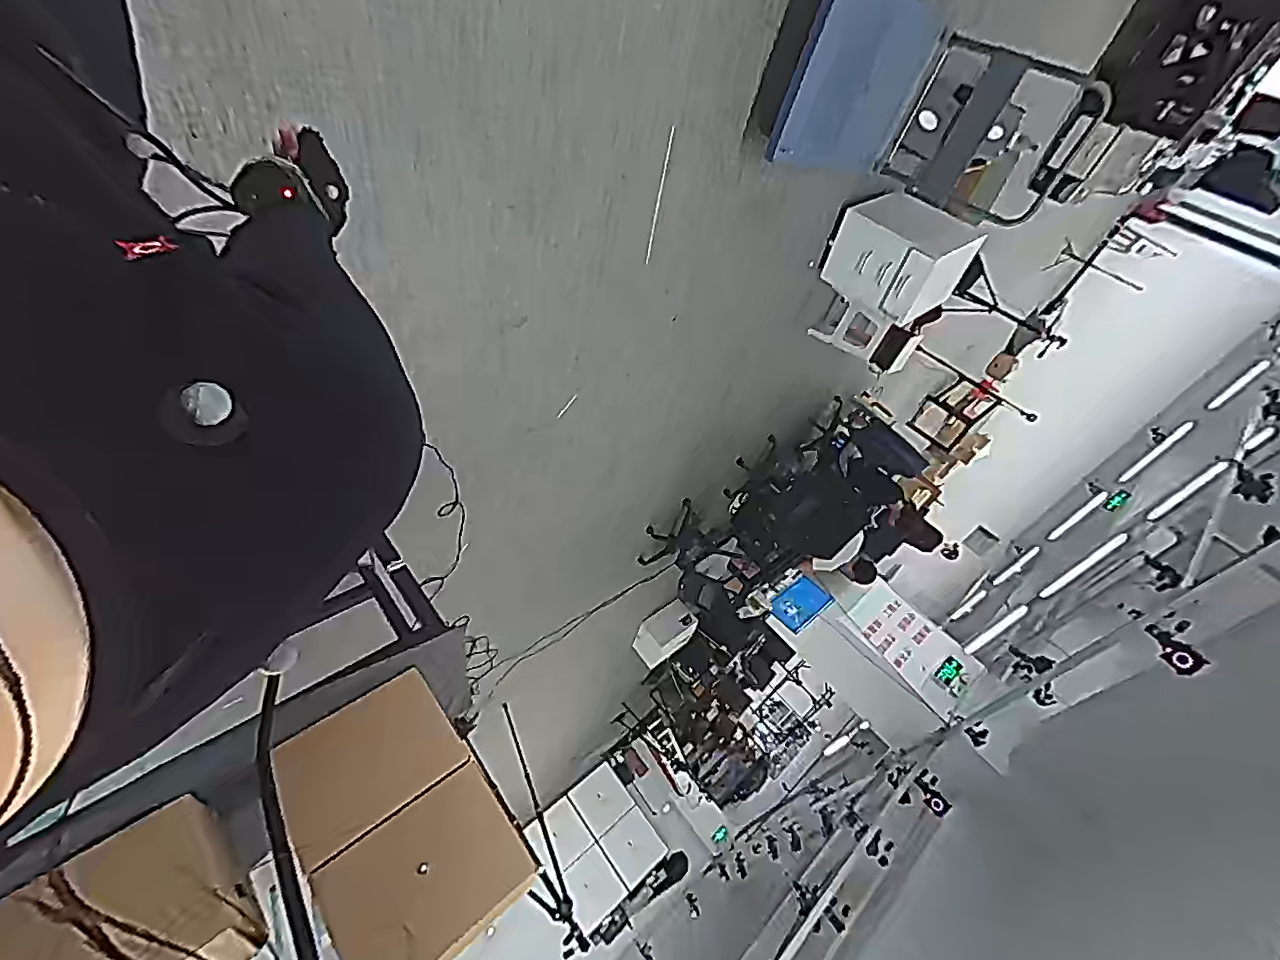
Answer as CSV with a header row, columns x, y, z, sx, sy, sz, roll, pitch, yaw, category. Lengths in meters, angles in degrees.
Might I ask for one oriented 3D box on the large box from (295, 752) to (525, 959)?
x,y,z,sx,sy,sz,roll,pitch,yaw,category
-0.543,0.970,1.329,0.408,0.320,0.320,-28,150,-36,large box
